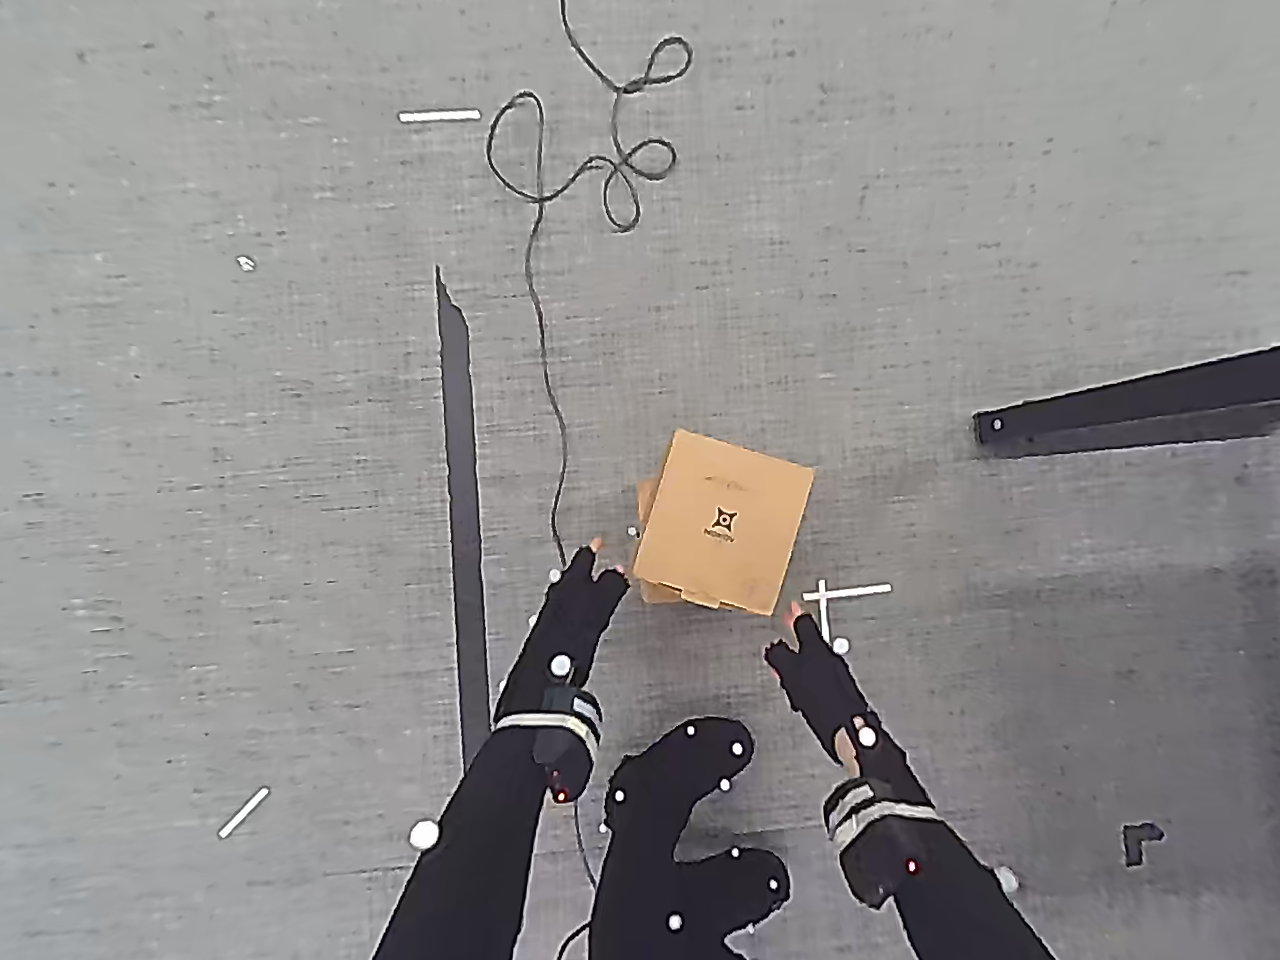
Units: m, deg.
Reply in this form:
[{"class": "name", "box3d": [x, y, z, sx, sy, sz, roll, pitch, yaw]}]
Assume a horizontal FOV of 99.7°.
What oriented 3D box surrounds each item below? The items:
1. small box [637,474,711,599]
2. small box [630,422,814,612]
[{"class": "small box", "box3d": [0.081, 0.079, 0.836, 0.168, 0.176, 0.179, -3, 89, -1]}, {"class": "small box", "box3d": [0.090, 0.044, 0.675, 0.168, 0.176, 0.179, 17, 87, -2]}]
